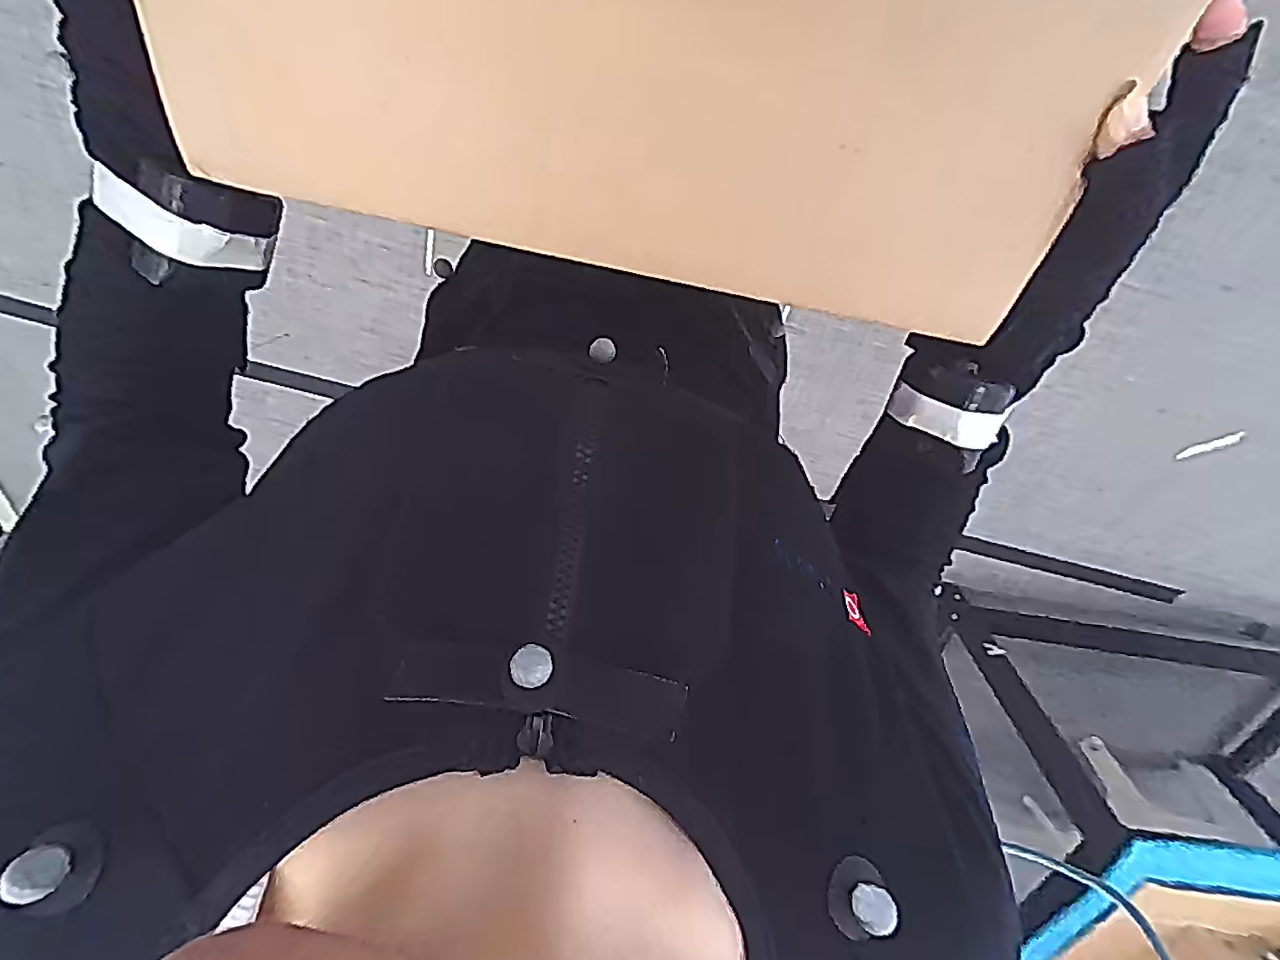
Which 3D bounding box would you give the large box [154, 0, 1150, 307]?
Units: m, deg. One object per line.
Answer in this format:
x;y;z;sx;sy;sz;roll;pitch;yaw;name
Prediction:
0.018;-0.332;0.296;0.408;0.320;0.320;10;129;-5;large box
